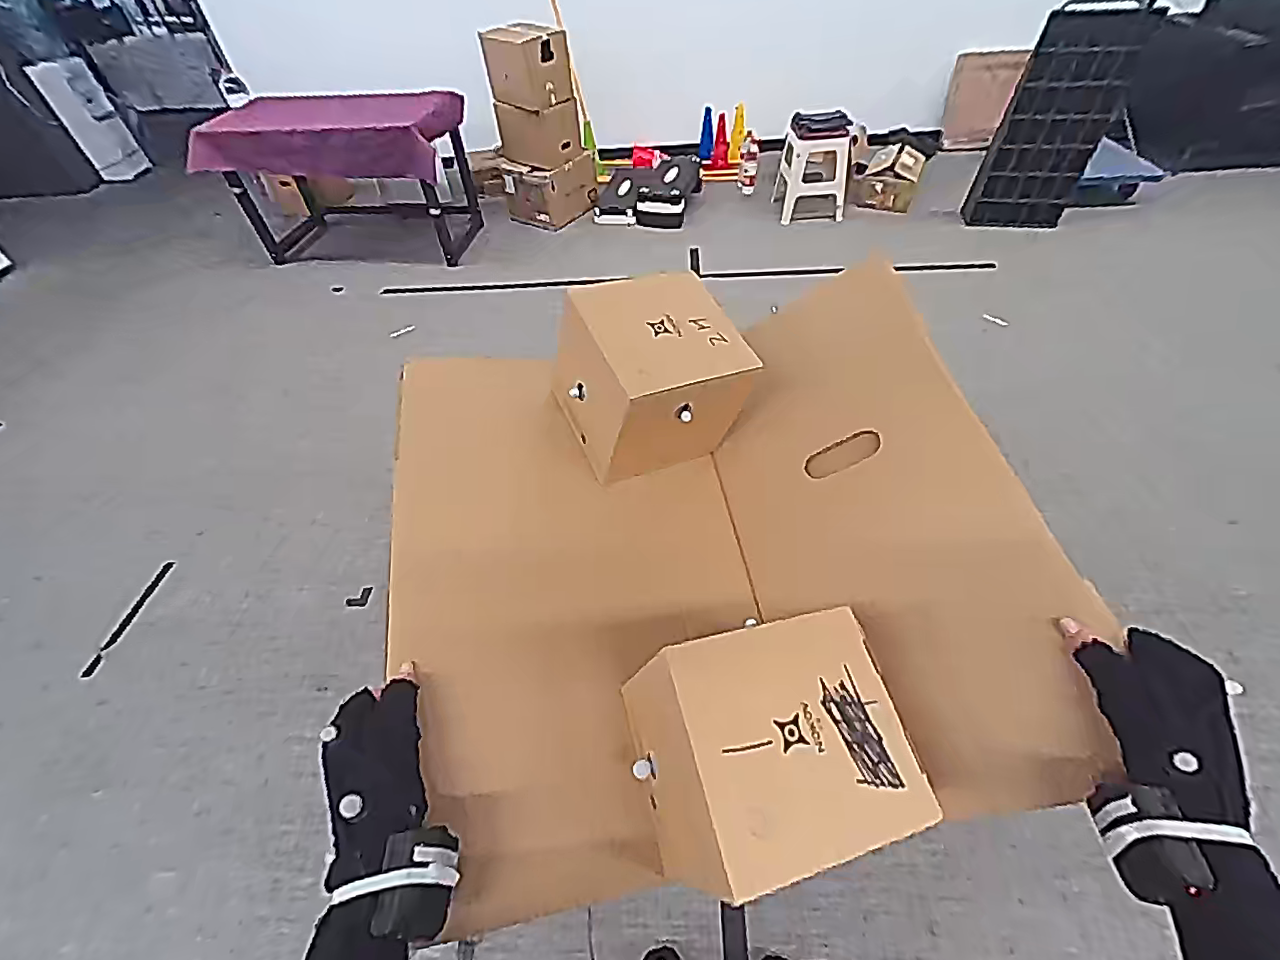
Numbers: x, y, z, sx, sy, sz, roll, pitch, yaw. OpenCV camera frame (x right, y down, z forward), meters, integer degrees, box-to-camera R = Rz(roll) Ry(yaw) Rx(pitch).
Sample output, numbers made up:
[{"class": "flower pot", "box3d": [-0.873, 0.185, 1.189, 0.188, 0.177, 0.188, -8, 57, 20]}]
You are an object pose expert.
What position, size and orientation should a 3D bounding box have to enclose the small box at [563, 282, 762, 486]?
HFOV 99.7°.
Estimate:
[{"class": "small box", "box3d": [0.012, -0.114, 0.667, 0.179, 0.176, 0.168, -17, 64, -25]}]
